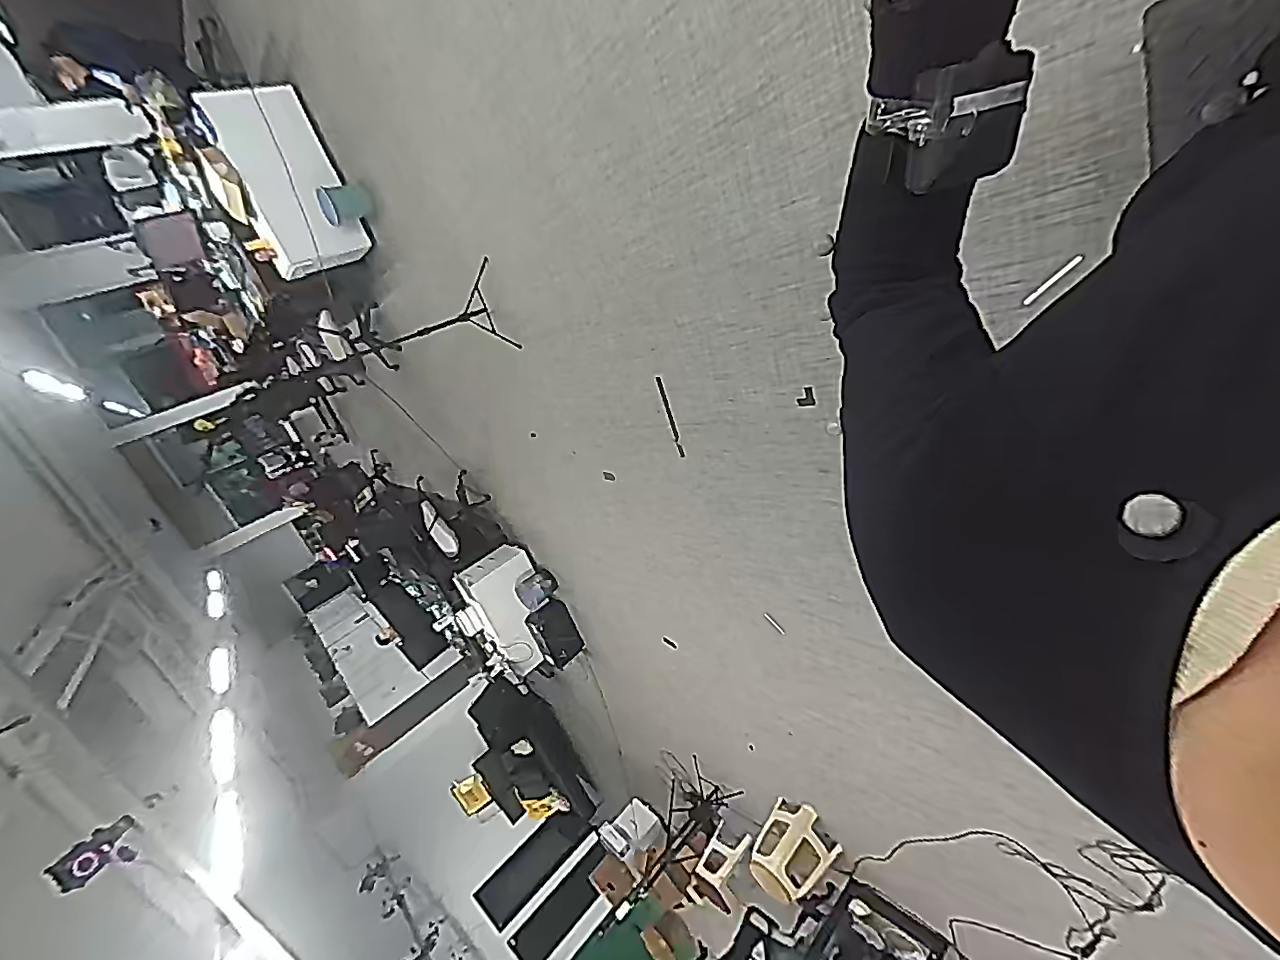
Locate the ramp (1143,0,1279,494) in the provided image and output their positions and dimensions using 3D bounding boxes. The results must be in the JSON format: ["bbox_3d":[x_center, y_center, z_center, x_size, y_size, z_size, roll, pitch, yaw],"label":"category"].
[{"bbox_3d":[1.159,-0.351,0.862,0.509,0.206,0.991,3,122,51],"label":"ramp"}]
